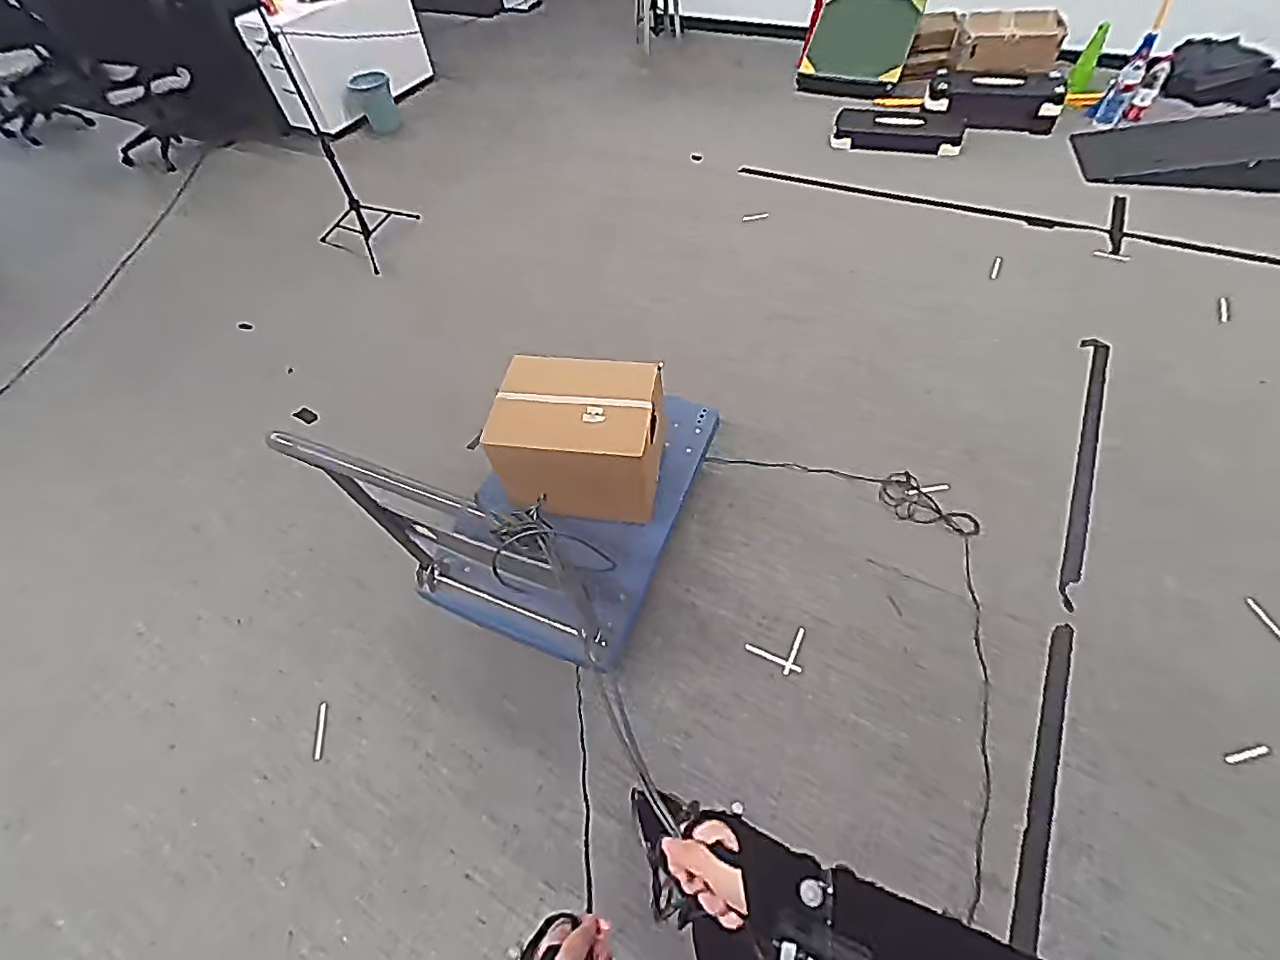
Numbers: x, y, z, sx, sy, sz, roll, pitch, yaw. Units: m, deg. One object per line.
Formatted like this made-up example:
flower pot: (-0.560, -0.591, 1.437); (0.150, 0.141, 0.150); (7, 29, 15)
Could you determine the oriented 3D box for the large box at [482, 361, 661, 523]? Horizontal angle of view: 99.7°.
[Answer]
large box: (-0.161, -0.100, 1.481); (0.408, 0.320, 0.320); (5, 56, 7)
